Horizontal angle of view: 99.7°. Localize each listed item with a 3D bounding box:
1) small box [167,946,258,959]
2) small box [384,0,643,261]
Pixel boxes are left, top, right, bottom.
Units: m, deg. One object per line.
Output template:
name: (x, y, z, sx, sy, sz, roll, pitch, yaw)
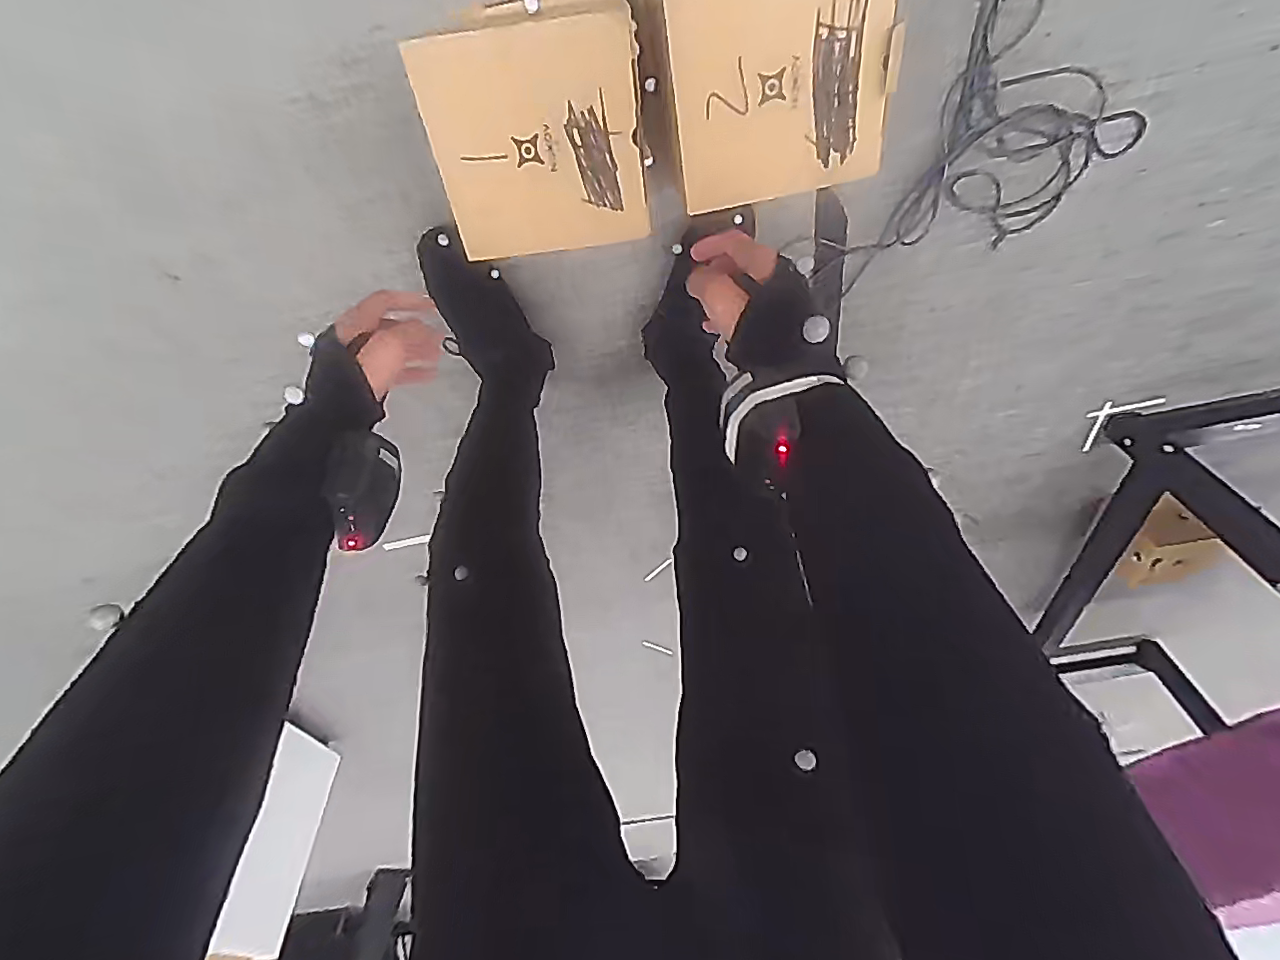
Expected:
small box: (-1.191, 1.383, 1.458, 0.179, 0.176, 0.168, -10, 134, 5)
small box: (-0.094, -0.323, 0.495, 0.179, 0.176, 0.168, -5, 134, 4)
